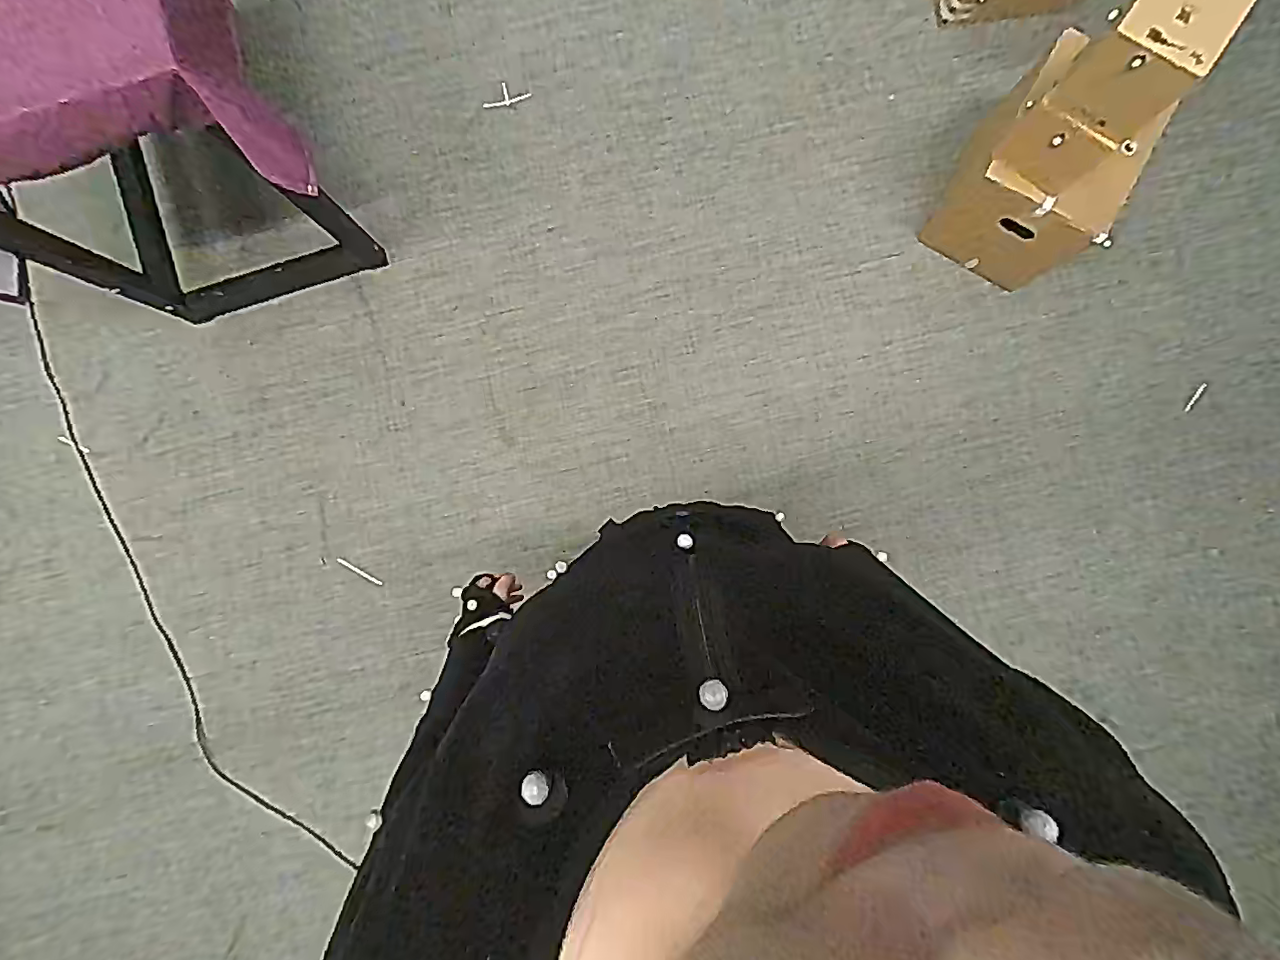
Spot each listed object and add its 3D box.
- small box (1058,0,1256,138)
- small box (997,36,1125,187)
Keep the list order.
[{"bbox_3d":[0.920,-0.780,0.980,0.168,0.176,0.179,34,89,5],"label":"small box"},{"bbox_3d":[0.919,-0.762,1.144,0.179,0.176,0.168,38,89,4],"label":"small box"}]
